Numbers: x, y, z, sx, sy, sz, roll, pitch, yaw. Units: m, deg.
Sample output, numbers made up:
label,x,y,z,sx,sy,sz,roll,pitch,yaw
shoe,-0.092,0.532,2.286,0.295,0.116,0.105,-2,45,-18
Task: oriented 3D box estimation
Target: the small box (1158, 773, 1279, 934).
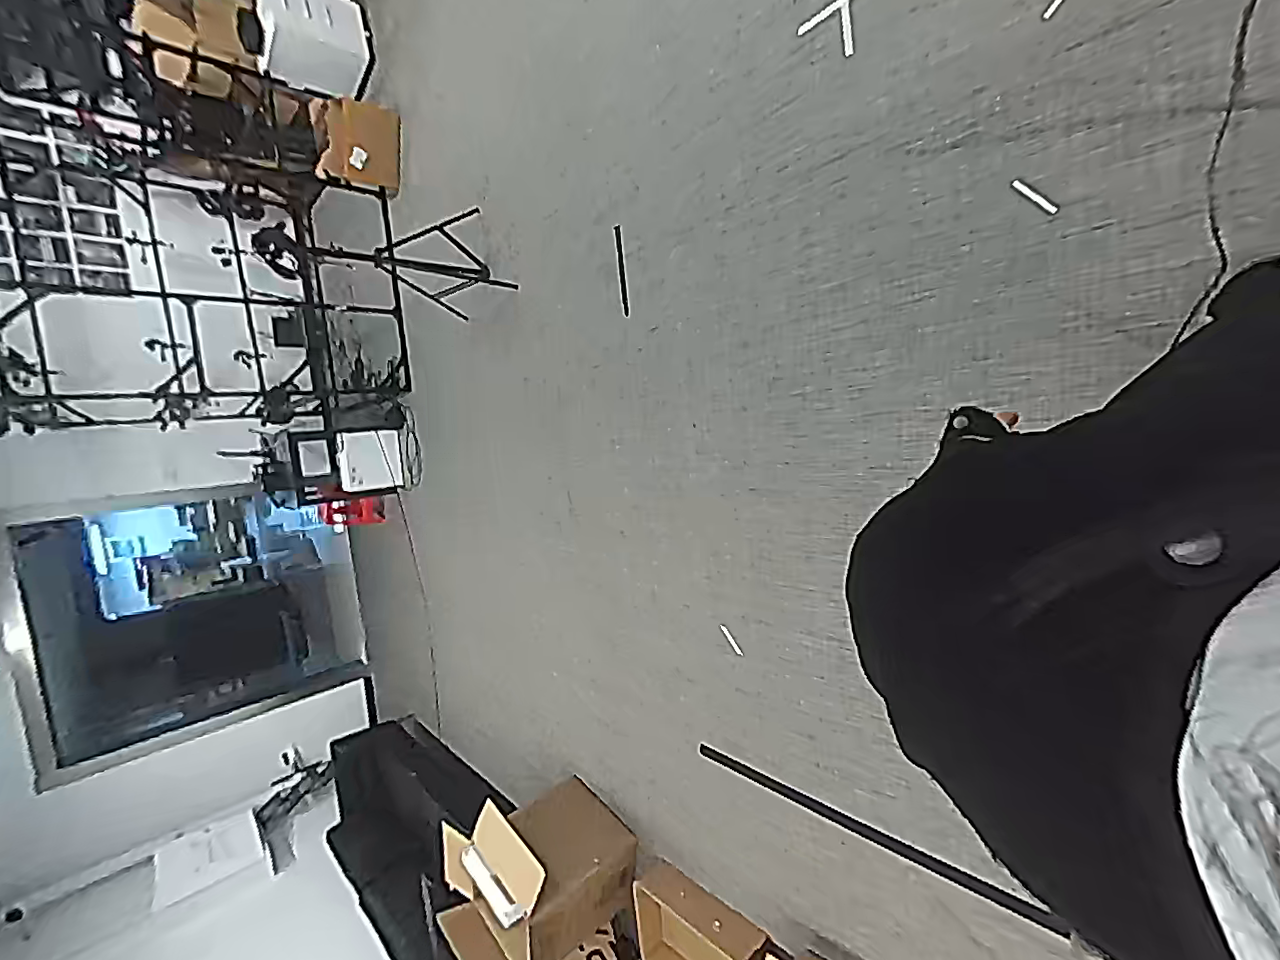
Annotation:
label,x,y,z,sx,sy,sz,roll,pitch,yaw
small box,1.149,0.714,1.058,0.179,0.176,0.168,5,101,48
